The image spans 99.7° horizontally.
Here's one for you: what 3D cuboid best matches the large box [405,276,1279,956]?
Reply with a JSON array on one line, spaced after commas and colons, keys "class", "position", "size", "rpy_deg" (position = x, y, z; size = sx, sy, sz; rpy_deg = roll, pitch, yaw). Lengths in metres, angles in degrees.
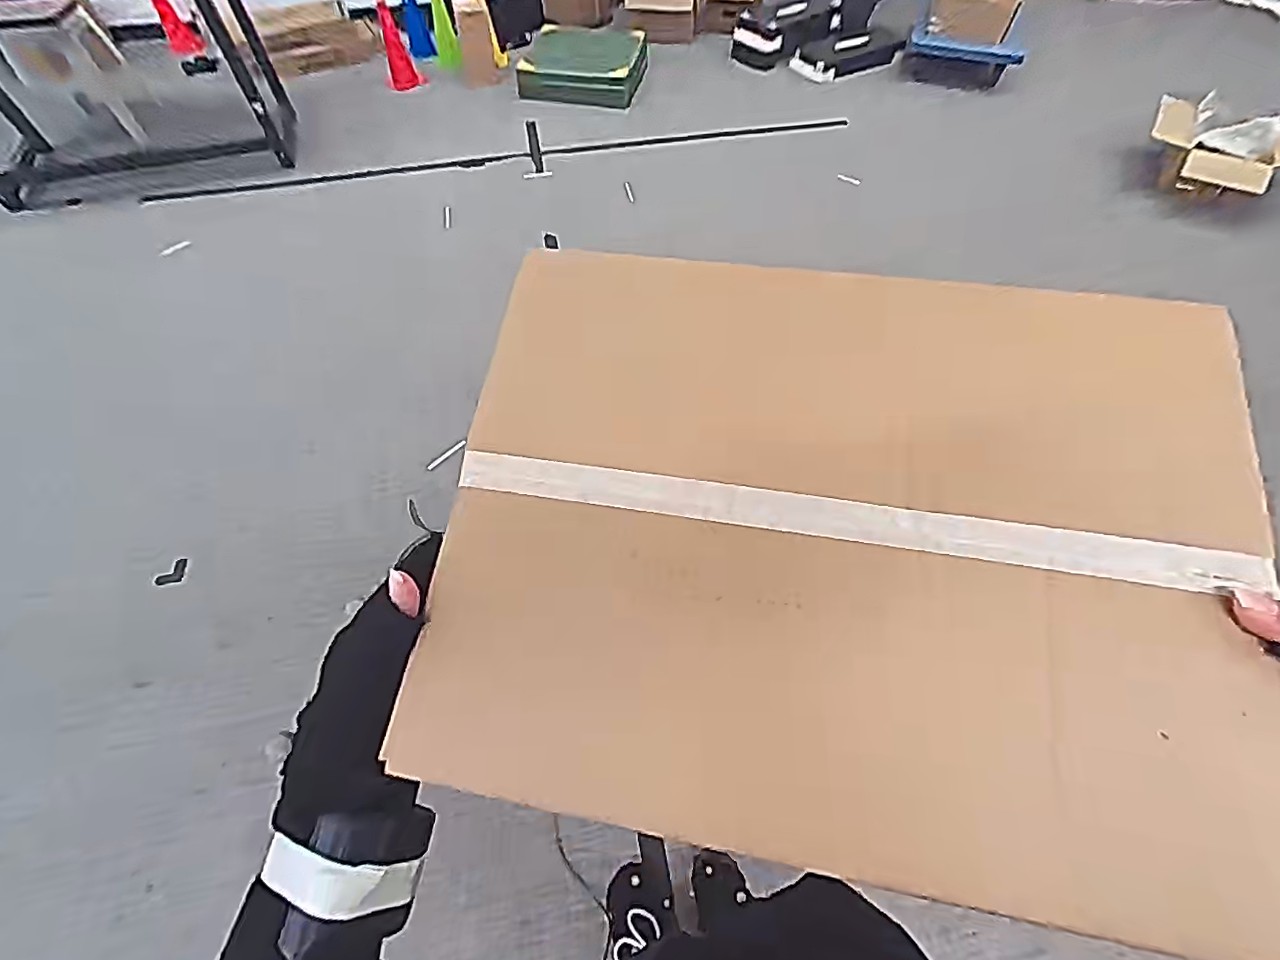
[{"class": "large box", "position": [0.109, 0.077, 0.429], "size": [0.408, 0.320, 0.320], "rpy_deg": [8, 73, 7]}]
